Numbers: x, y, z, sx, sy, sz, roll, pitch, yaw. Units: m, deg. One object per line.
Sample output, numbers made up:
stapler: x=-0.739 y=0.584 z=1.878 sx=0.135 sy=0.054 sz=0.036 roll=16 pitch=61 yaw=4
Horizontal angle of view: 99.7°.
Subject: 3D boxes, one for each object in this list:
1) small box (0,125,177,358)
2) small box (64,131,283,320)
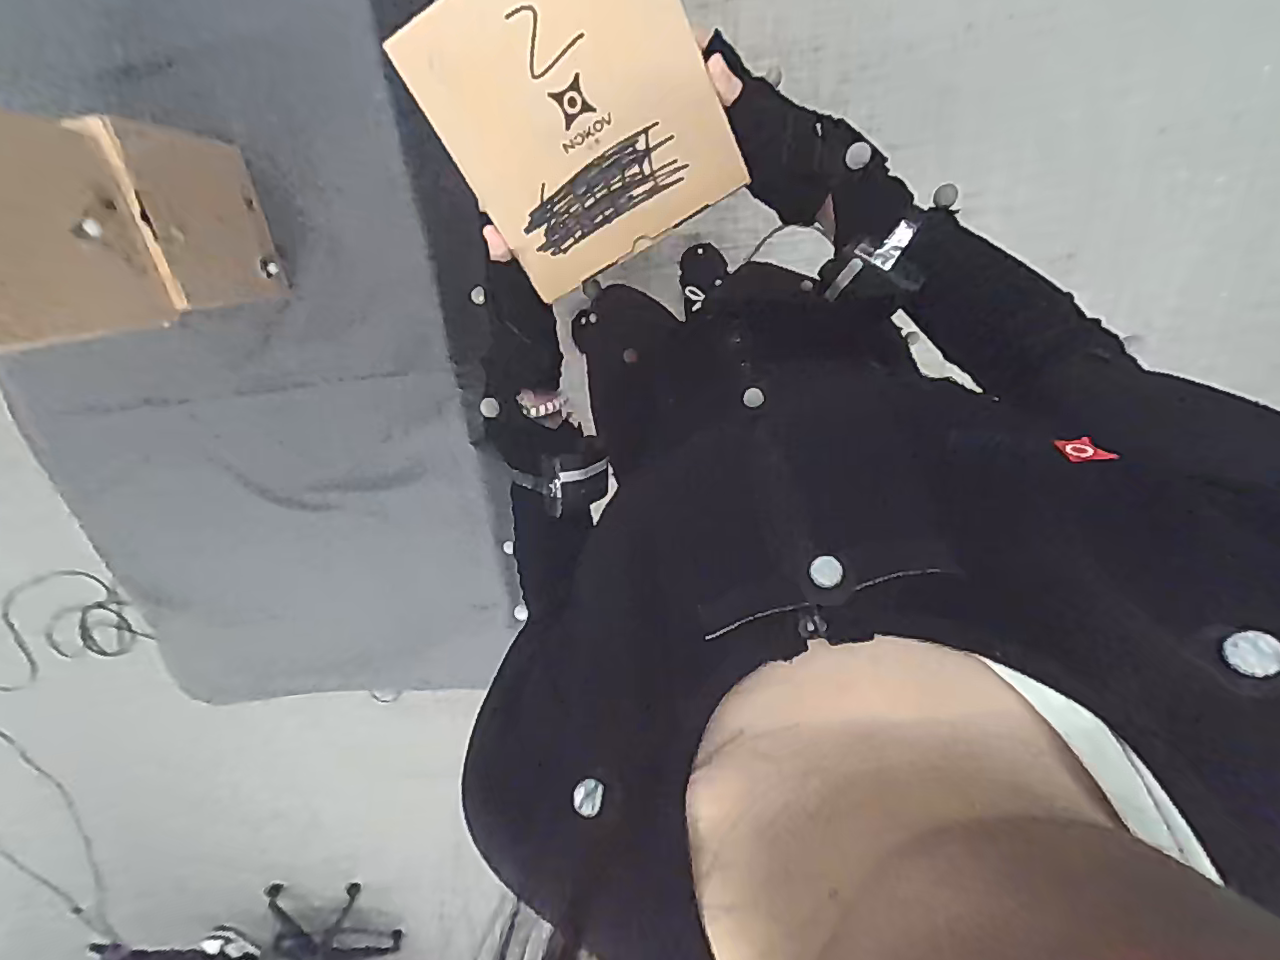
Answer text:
small box: x=-0.560 y=-0.187 z=0.450 sx=0.179 sy=0.176 sz=0.168 roll=-7 pitch=113 yaw=6
small box: x=-0.538 y=-0.264 z=0.595 sx=0.179 sy=0.176 sz=0.168 roll=-5 pitch=112 yaw=7
